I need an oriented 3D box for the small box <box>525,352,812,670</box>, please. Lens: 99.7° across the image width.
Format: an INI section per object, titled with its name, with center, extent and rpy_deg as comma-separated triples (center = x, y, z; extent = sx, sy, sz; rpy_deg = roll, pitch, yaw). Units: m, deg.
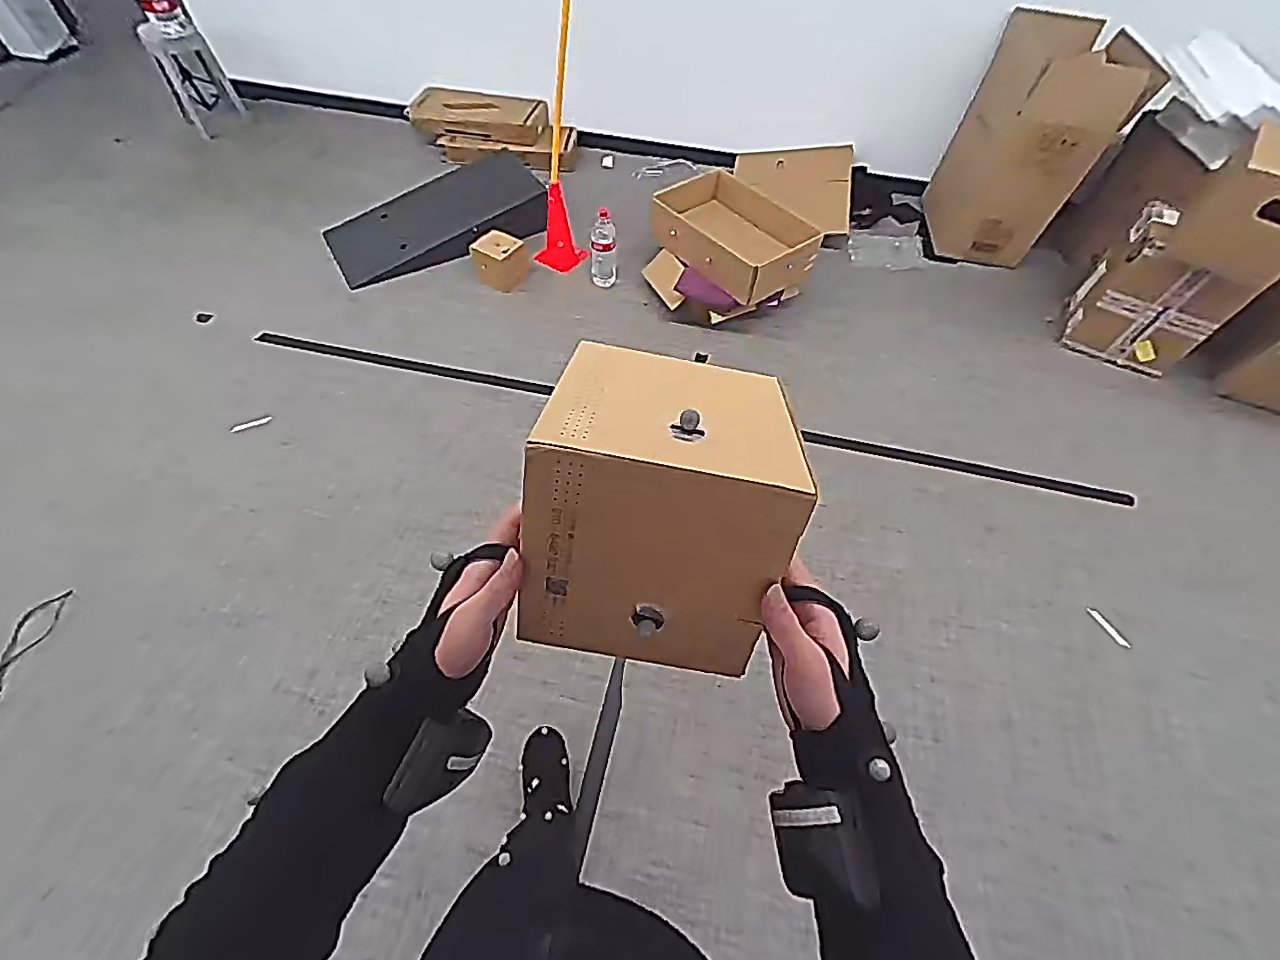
[small box]
center = 0.013, 0.016, 0.424
extent = 0.176, 0.168, 0.179
rpy_deg = 11, 33, -2
